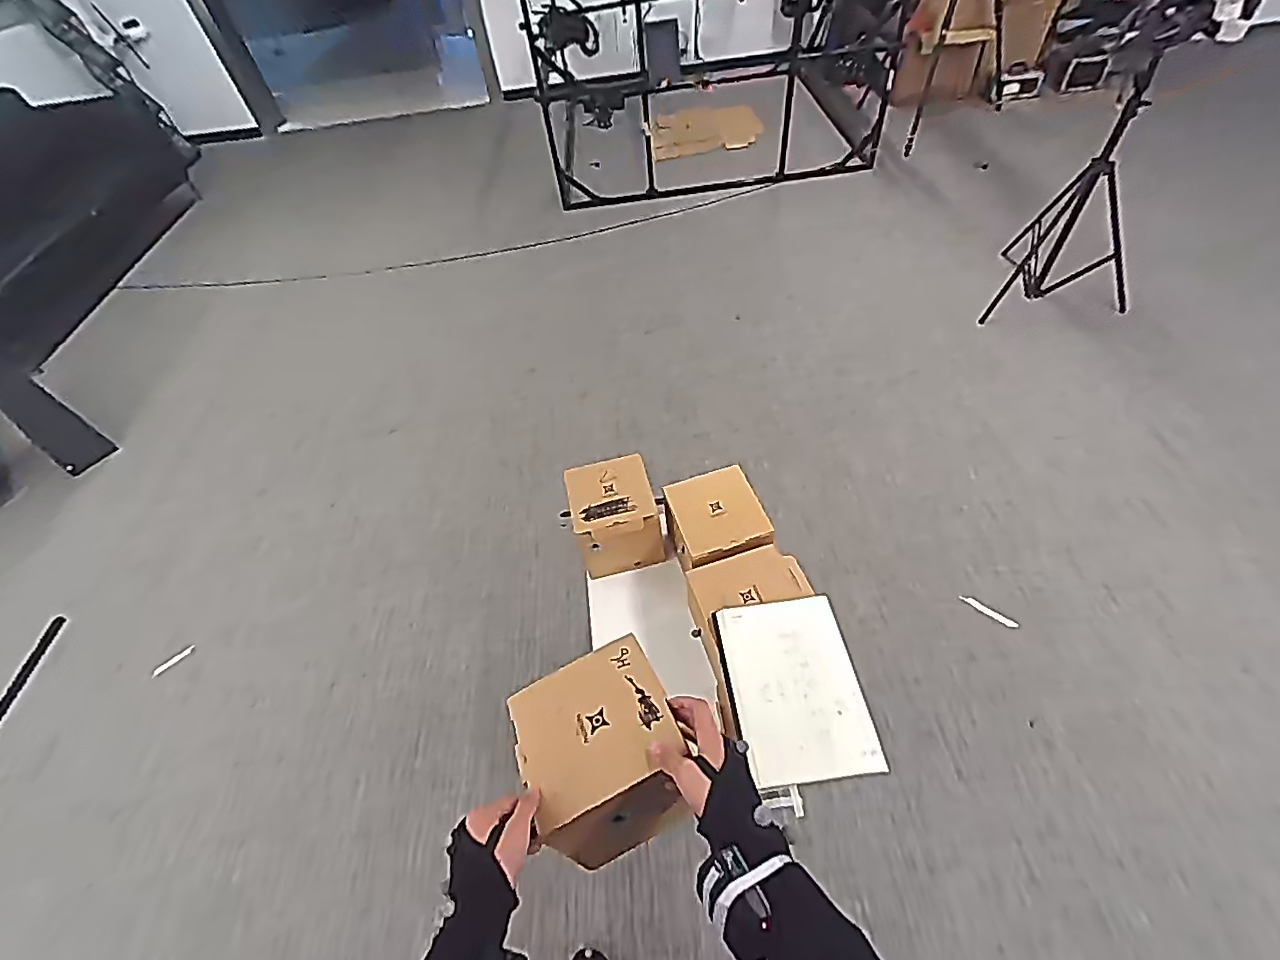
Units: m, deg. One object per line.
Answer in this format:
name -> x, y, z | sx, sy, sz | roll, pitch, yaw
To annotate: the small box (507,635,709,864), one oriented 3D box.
small box -> -0.036, 0.333, 0.664 | 0.179, 0.176, 0.168 | -27, 43, -6
